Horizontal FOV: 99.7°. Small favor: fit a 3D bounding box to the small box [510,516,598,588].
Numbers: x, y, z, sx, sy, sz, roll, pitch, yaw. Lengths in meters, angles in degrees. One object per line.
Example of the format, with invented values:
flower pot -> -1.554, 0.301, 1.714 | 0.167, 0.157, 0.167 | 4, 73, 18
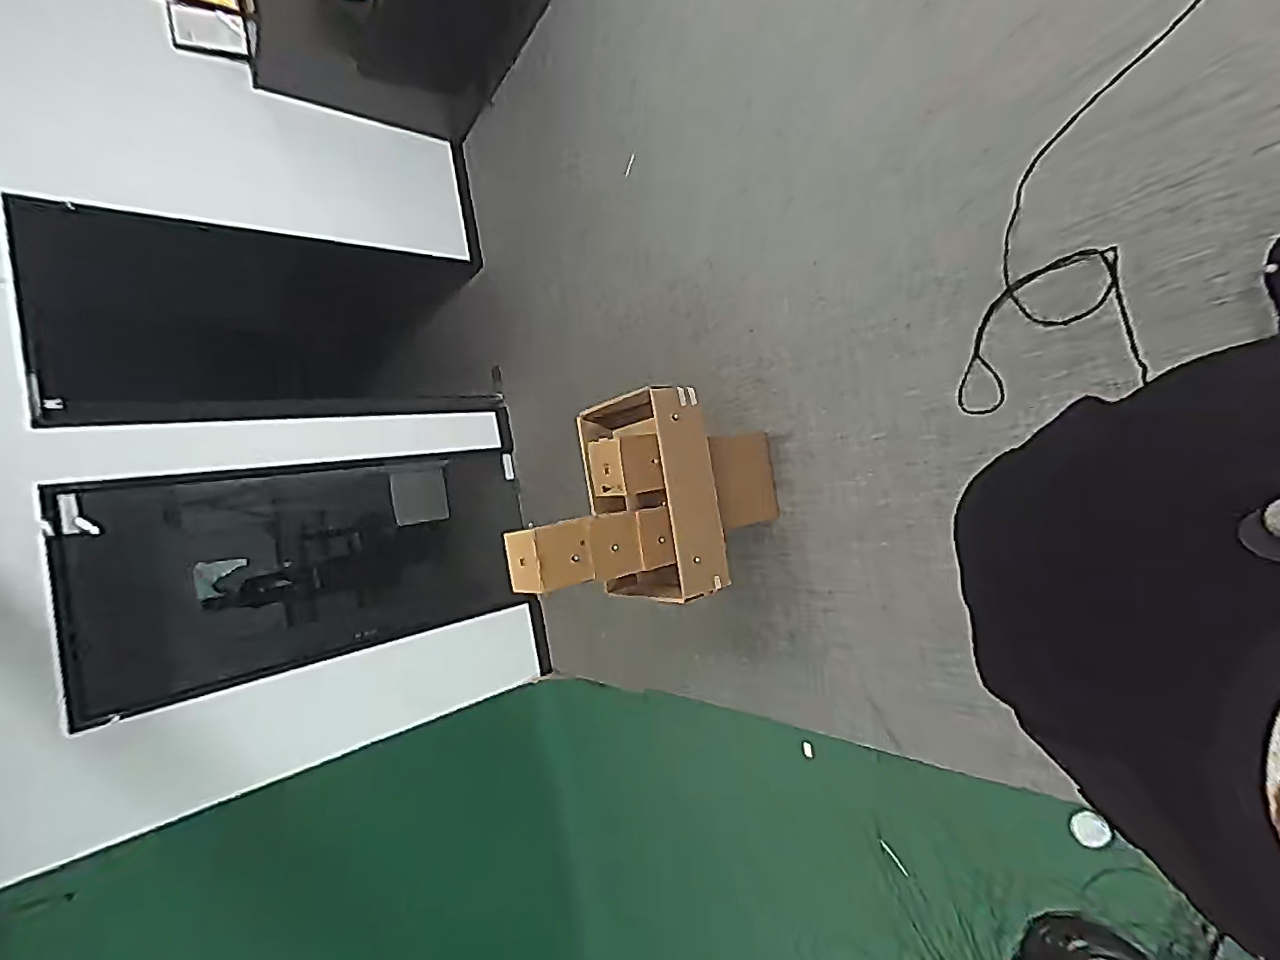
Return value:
small box -> -0.236, 0.196, 1.488 | 0.179, 0.176, 0.168 | -13, 86, 51
